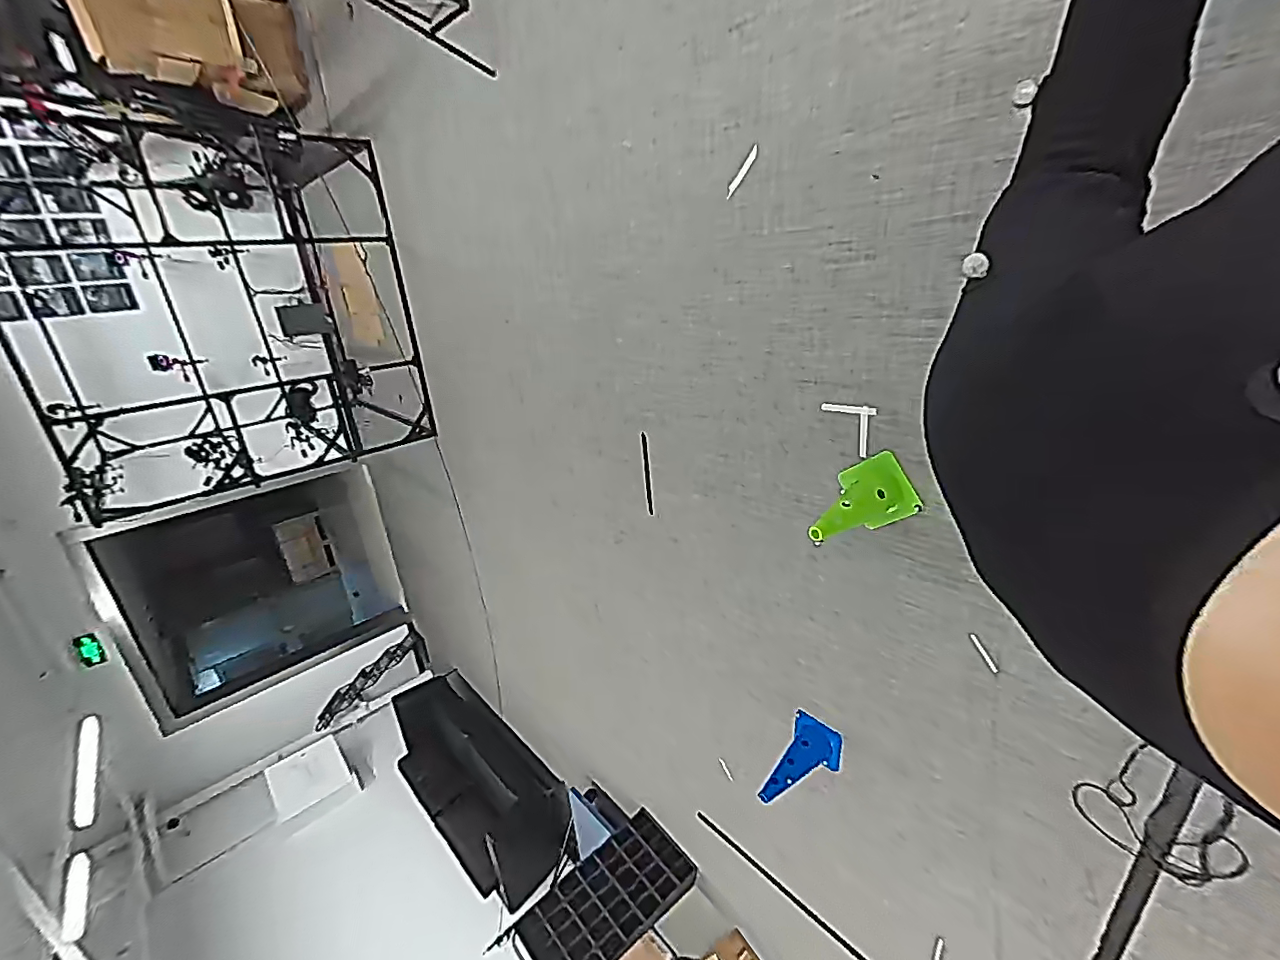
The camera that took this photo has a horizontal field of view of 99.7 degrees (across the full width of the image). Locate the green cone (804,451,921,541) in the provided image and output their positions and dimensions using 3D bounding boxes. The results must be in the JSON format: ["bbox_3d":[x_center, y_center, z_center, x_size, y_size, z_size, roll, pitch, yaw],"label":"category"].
[{"bbox_3d":[0.583,0.082,1.519,0.202,0.368,0.200,-39,76,53],"label":"green cone"}]

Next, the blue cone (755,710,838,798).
[{"bbox_3d":[0.576,1.079,2.054,0.192,0.380,0.193,24,125,44],"label":"blue cone"}]
